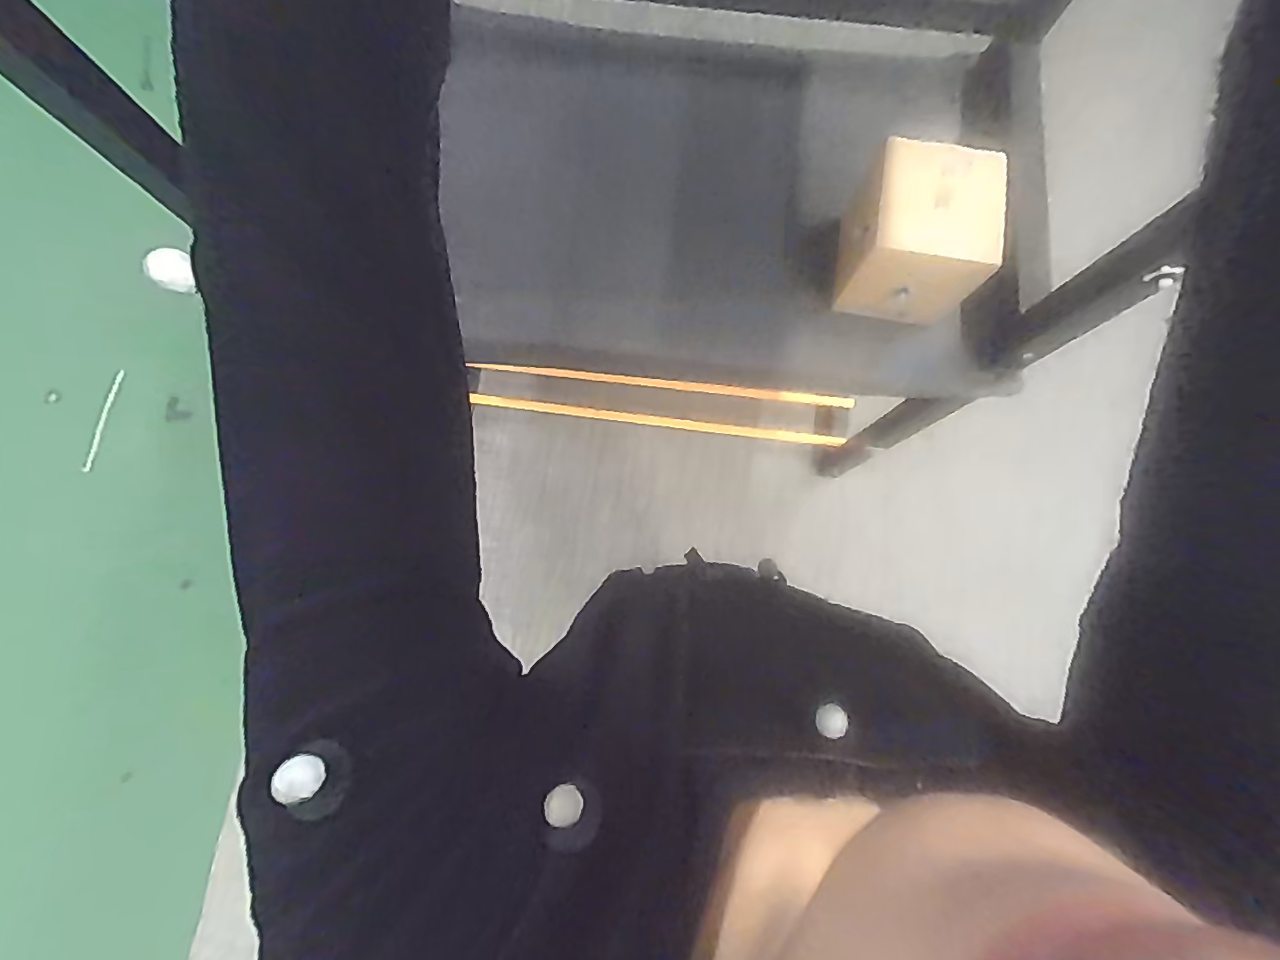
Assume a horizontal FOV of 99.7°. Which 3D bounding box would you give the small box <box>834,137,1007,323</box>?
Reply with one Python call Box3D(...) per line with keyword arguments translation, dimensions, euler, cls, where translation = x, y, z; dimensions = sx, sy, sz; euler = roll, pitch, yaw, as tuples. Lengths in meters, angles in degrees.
Box3D(translation=(0.399, -0.354, 0.794), dimensions=(0.168, 0.176, 0.179), euler=(10, 78, 2), cls="small box")
